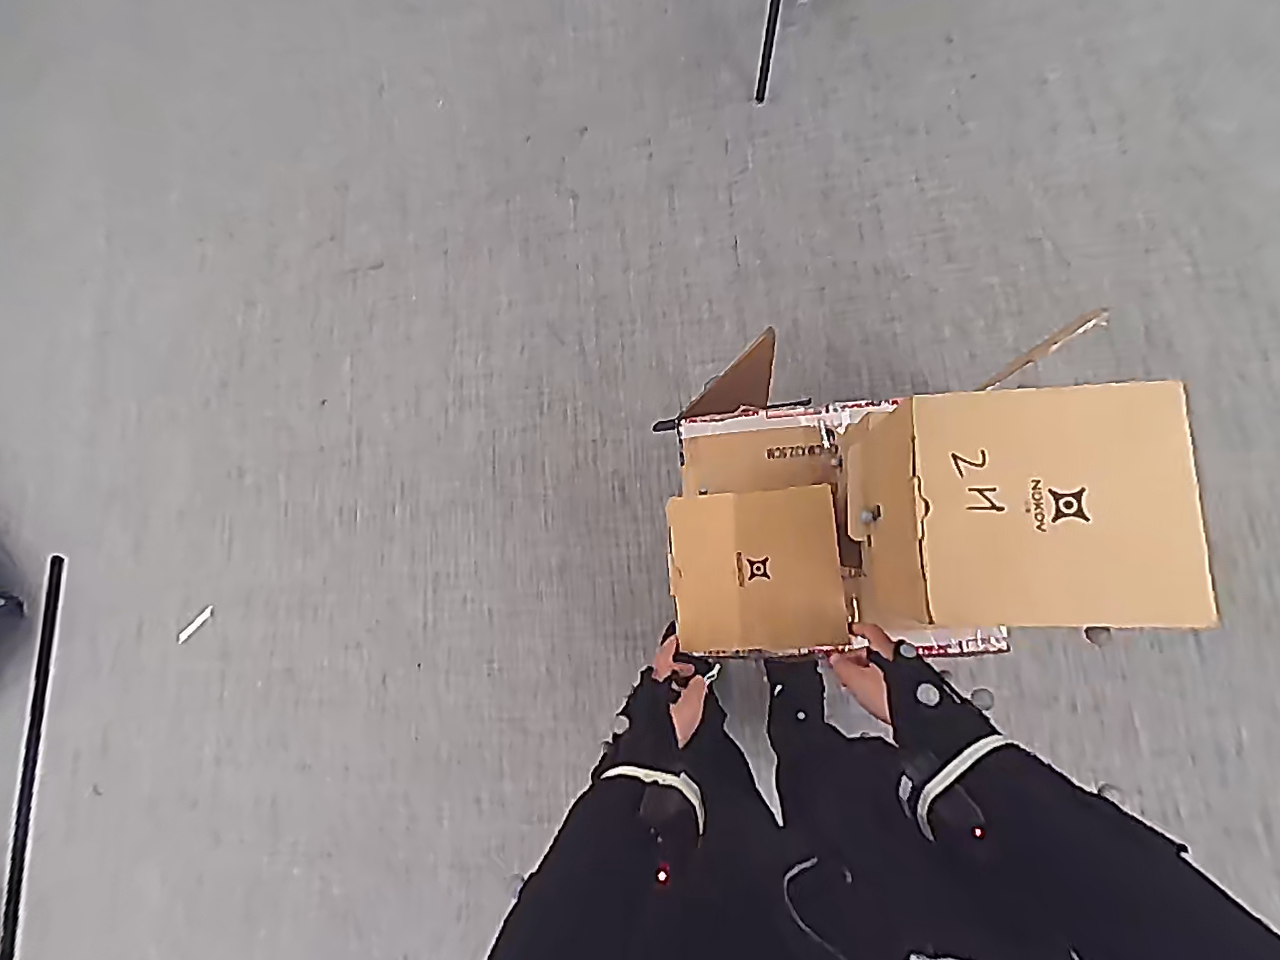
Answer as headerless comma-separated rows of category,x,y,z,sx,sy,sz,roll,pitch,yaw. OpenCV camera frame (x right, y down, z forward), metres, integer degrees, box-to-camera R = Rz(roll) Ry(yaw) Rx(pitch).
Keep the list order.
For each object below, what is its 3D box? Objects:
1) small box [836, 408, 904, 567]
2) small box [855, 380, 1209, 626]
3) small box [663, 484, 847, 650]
small box,0.324,0.020,0.610,0.179,0.176,0.168,1,83,10
small box,0.291,0.024,0.446,0.179,0.176,0.168,-2,82,10
small box,0.131,0.098,0.640,0.179,0.176,0.168,-7,83,11
